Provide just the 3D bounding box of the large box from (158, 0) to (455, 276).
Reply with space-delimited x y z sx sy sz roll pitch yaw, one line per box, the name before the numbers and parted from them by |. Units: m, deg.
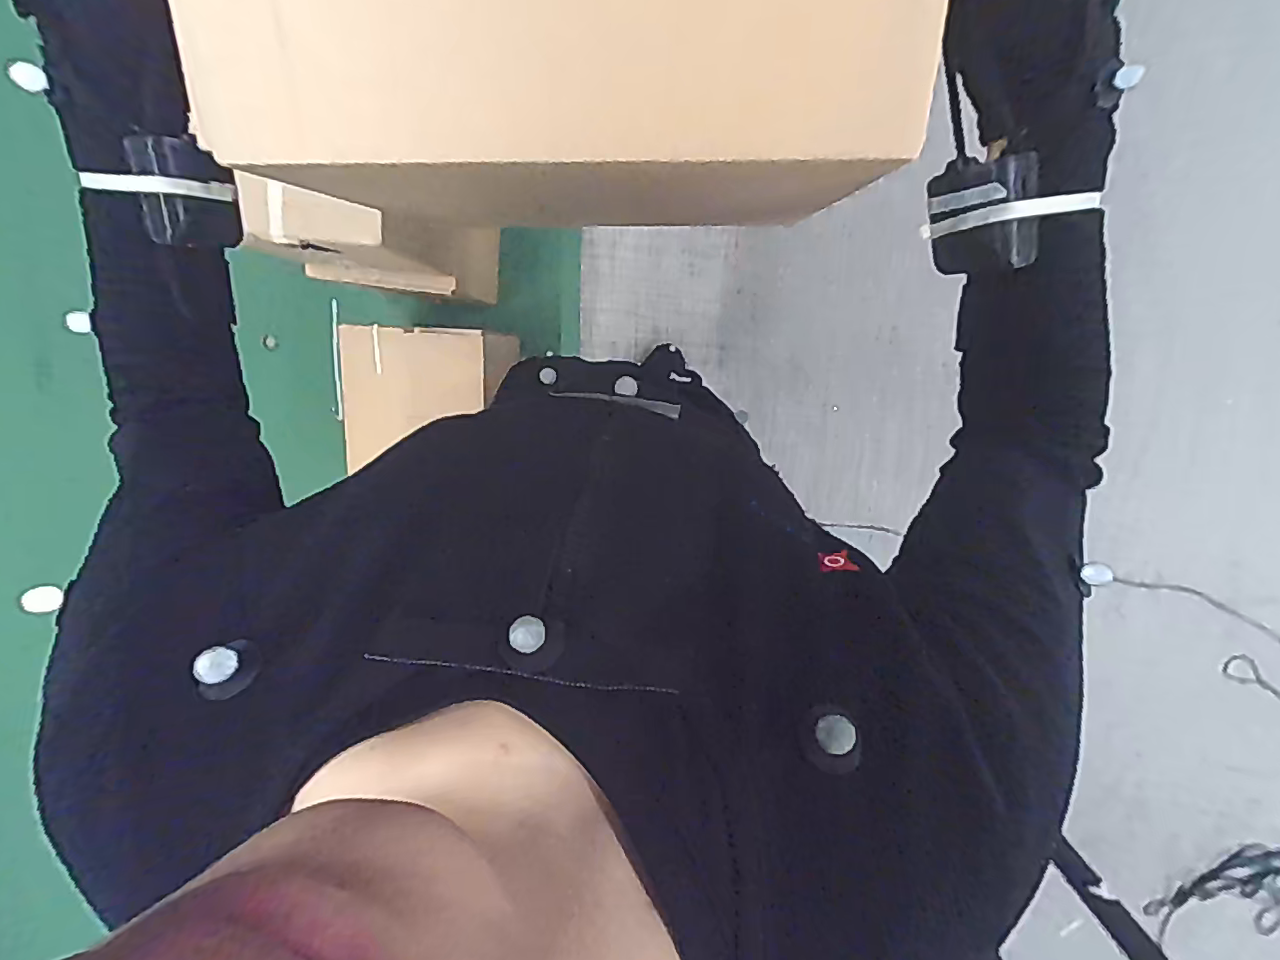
large box | -0.513 -0.582 0.904 0.320 0.320 0.408 5 101 -1
